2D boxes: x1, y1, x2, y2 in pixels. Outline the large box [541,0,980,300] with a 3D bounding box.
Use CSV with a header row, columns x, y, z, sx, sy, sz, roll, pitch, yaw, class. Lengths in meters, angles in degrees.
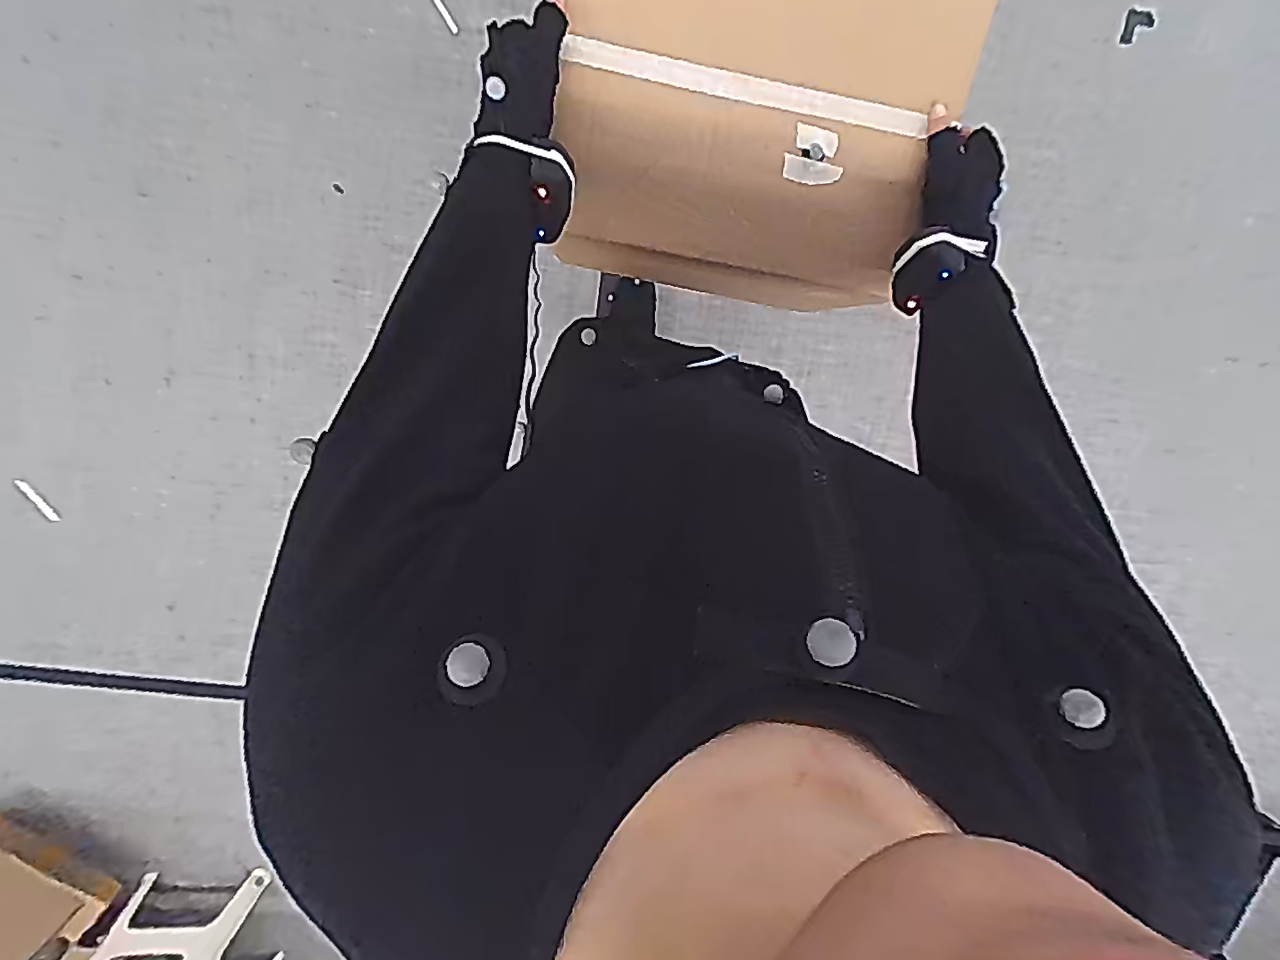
x,y,z,sx,sy,sz,roll,pitch,yaw,class
0.106,-0.424,0.677,0.408,0.320,0.320,9,105,-6,large box
